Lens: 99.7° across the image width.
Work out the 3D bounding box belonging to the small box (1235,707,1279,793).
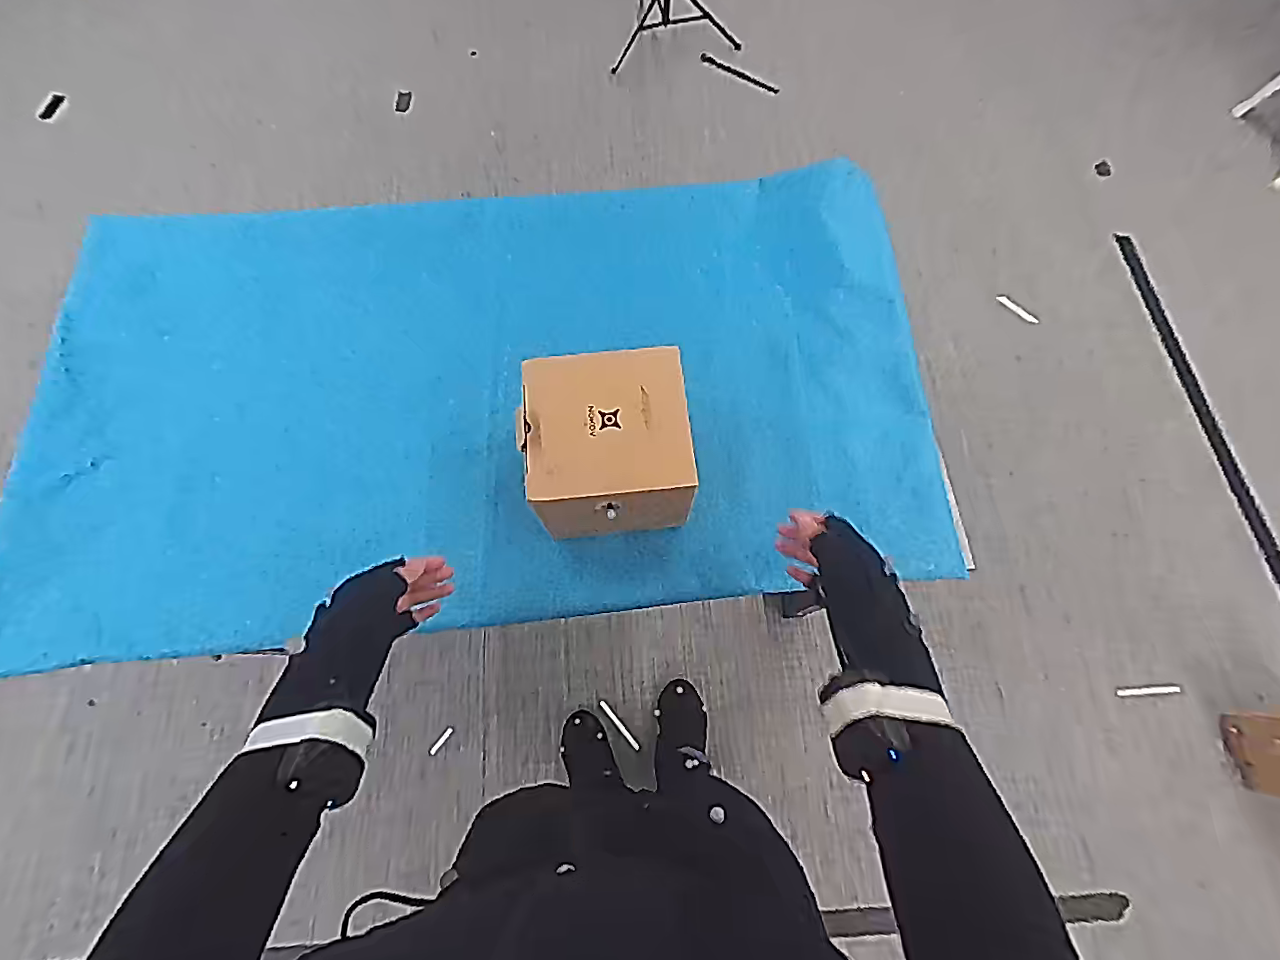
[{"bbox_3d":[1.458,0.585,1.163,0.179,0.176,0.168,-5,71,-2],"label":"small box"}]

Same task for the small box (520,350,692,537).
[{"bbox_3d":[-0.036,-0.033,0.643,0.179,0.176,0.168,-5,71,-1],"label":"small box"}]
